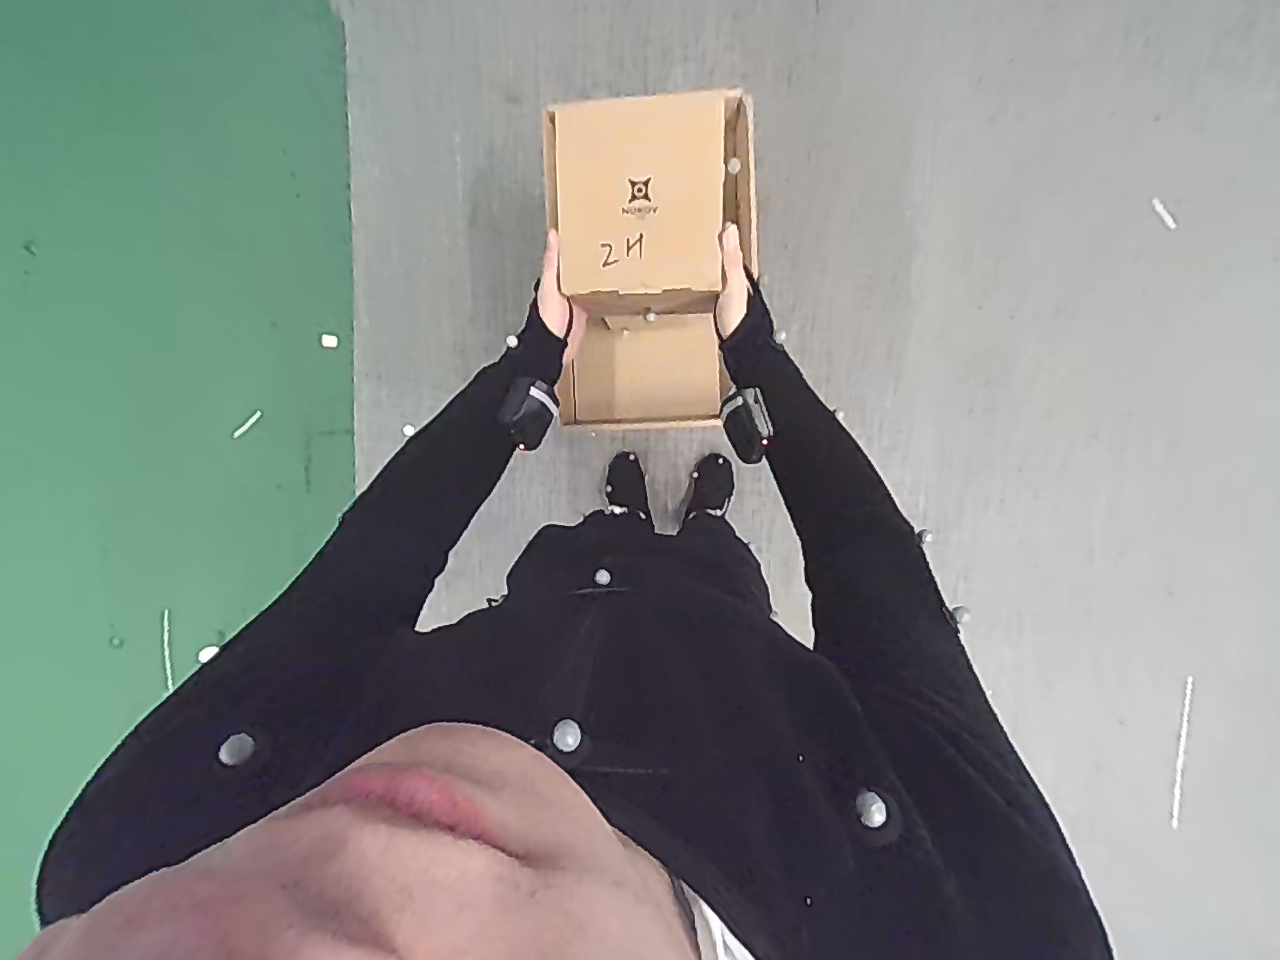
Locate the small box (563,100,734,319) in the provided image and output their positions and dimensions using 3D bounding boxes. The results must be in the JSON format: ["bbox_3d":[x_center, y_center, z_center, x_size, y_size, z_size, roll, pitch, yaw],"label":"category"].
[{"bbox_3d":[0.014,-0.283,0.603,0.168,0.176,0.179,1,99,7],"label":"small box"}]

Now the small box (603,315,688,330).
[{"bbox_3d":[0.014,-0.400,1.078,0.168,0.176,0.179,-1,94,3],"label":"small box"}]
